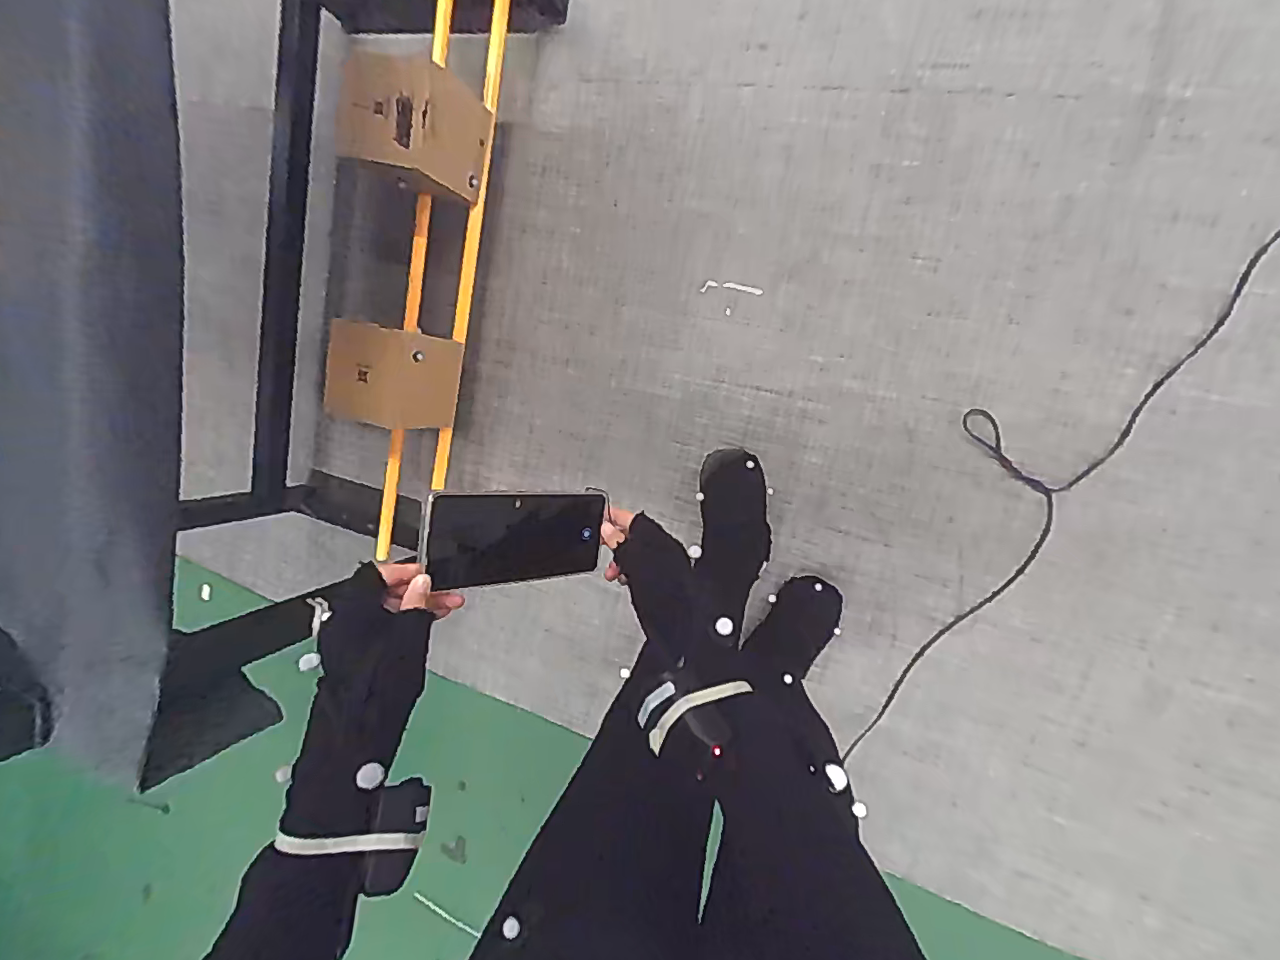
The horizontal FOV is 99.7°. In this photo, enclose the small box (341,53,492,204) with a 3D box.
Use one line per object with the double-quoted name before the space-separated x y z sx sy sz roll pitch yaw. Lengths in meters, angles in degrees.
"small box" -0.392 -0.616 0.967 0.179 0.176 0.168 18 102 16
